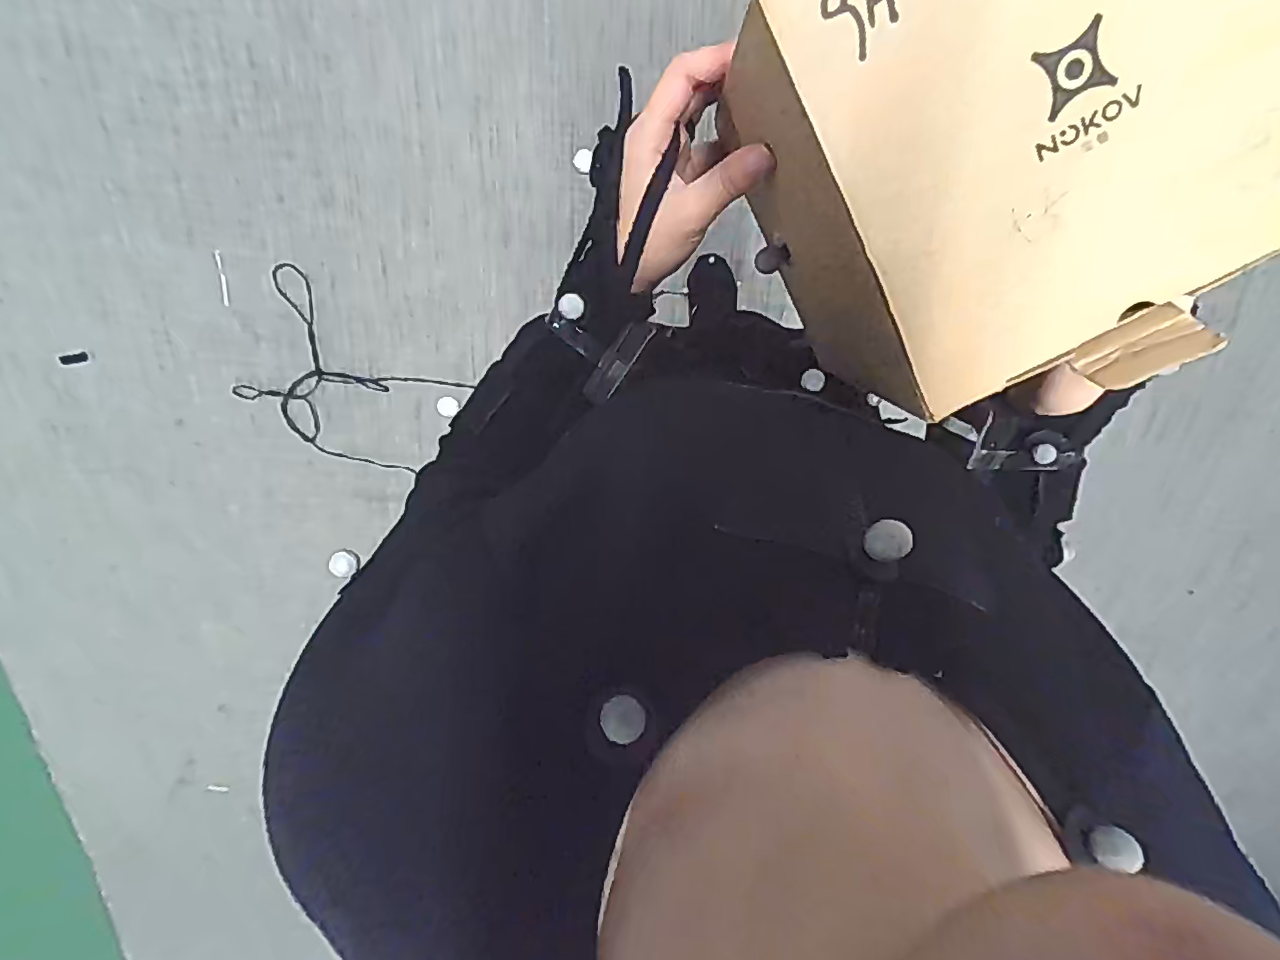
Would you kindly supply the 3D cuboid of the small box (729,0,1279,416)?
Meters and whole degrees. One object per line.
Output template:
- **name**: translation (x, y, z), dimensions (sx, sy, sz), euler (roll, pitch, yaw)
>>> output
- **small box**: translation (0.157, -0.160, 0.269), dimensions (0.168, 0.176, 0.179), euler (-25, 107, 11)
